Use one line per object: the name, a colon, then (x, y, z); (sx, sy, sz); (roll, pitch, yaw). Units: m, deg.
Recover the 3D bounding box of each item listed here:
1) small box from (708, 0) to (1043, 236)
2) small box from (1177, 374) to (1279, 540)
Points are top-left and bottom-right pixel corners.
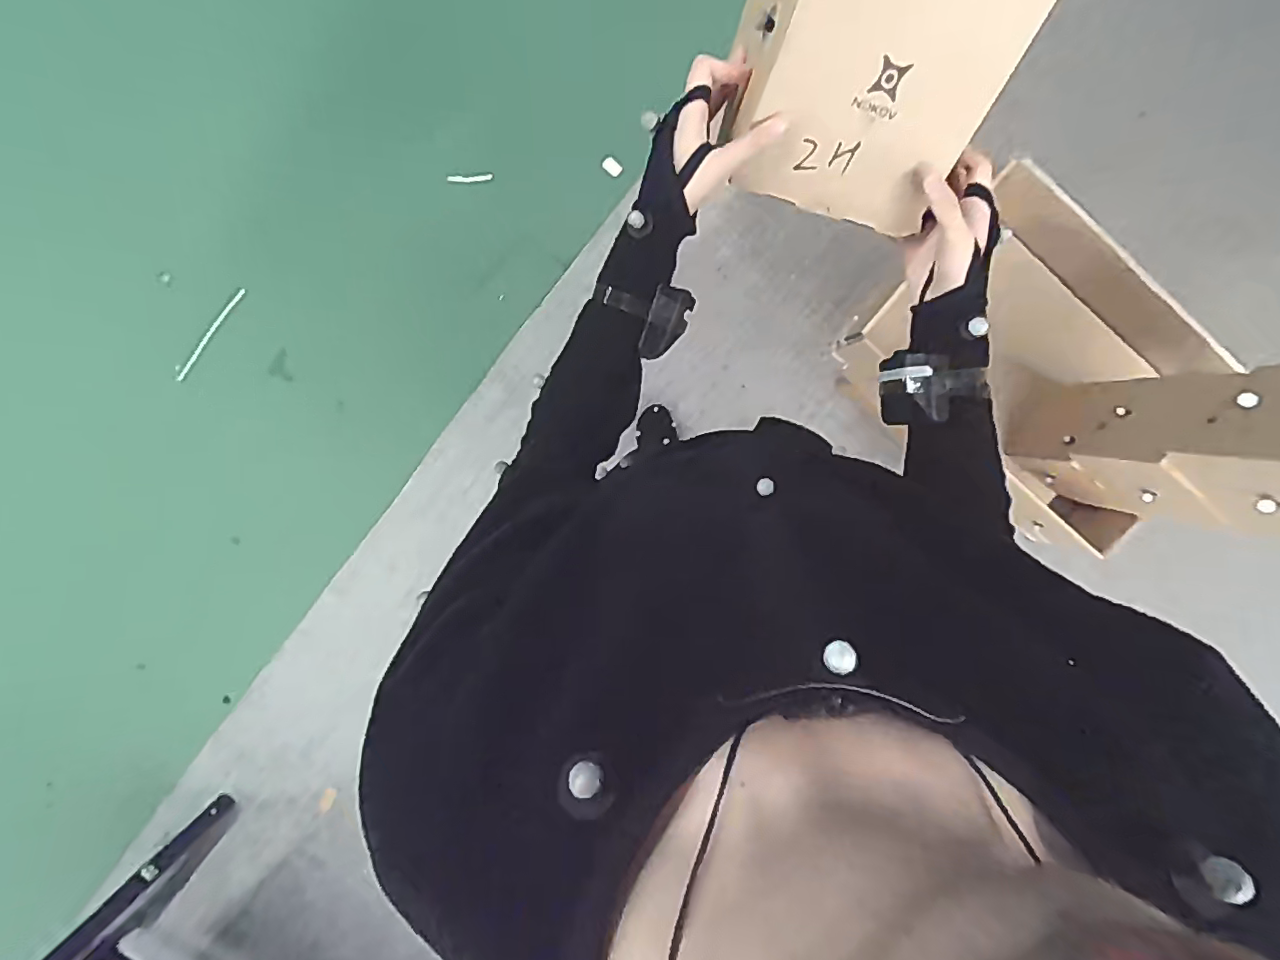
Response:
small box: (0.162, -0.337, 0.437); (0.168, 0.176, 0.179); (11, 135, -12)
small box: (0.845, -0.025, 0.661); (0.179, 0.176, 0.168); (44, 96, -4)
